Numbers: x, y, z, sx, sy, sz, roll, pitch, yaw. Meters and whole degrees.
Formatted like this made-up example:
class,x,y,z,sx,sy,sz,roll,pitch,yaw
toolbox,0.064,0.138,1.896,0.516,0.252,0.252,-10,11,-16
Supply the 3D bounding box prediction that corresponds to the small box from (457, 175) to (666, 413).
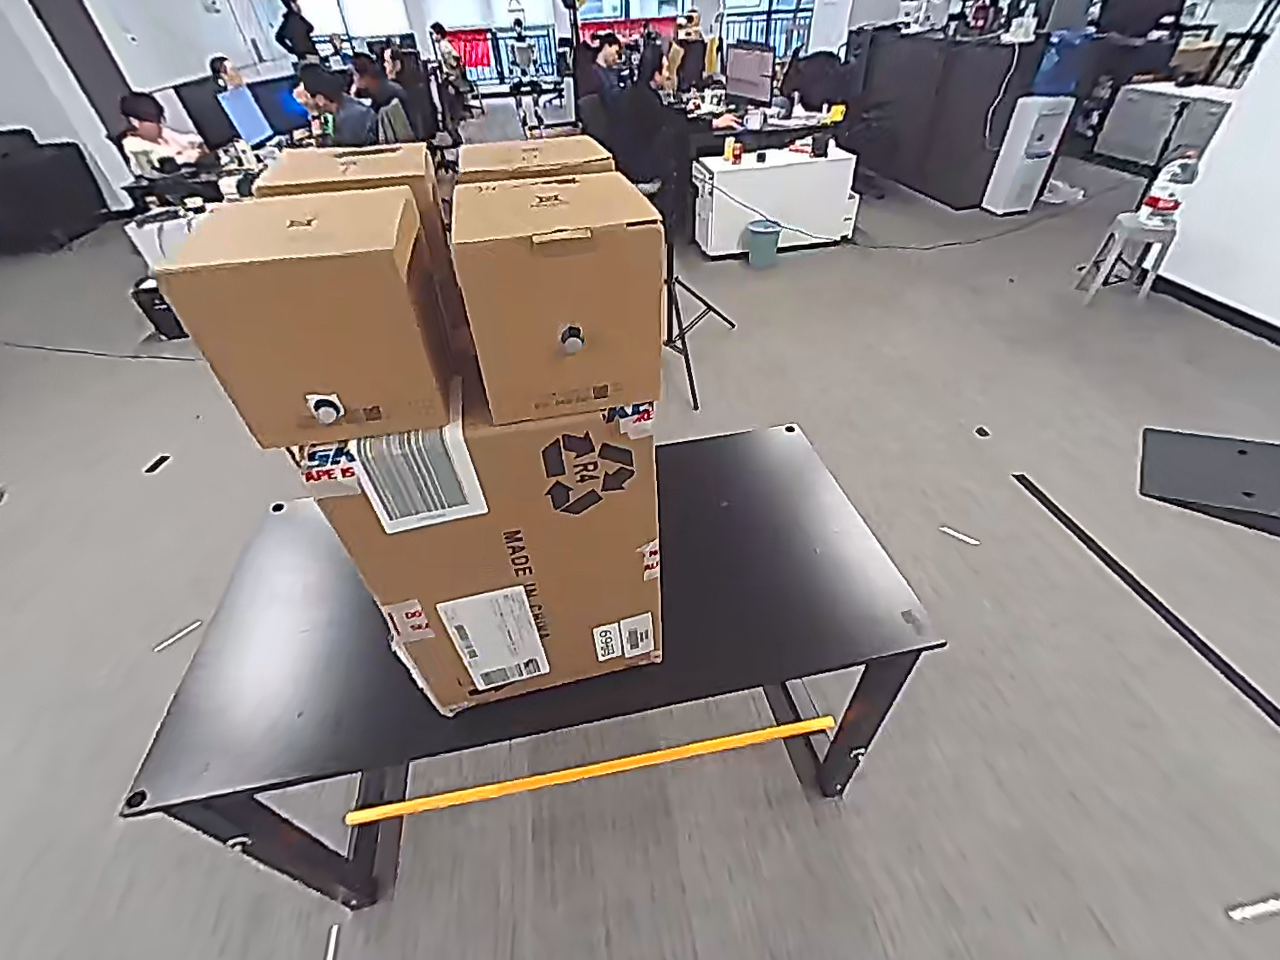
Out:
class,x,y,z,sx,sy,sz,roll,pitch,yaw
small box,-0.075,-0.177,0.527,0.168,0.176,0.179,-9,43,-10
